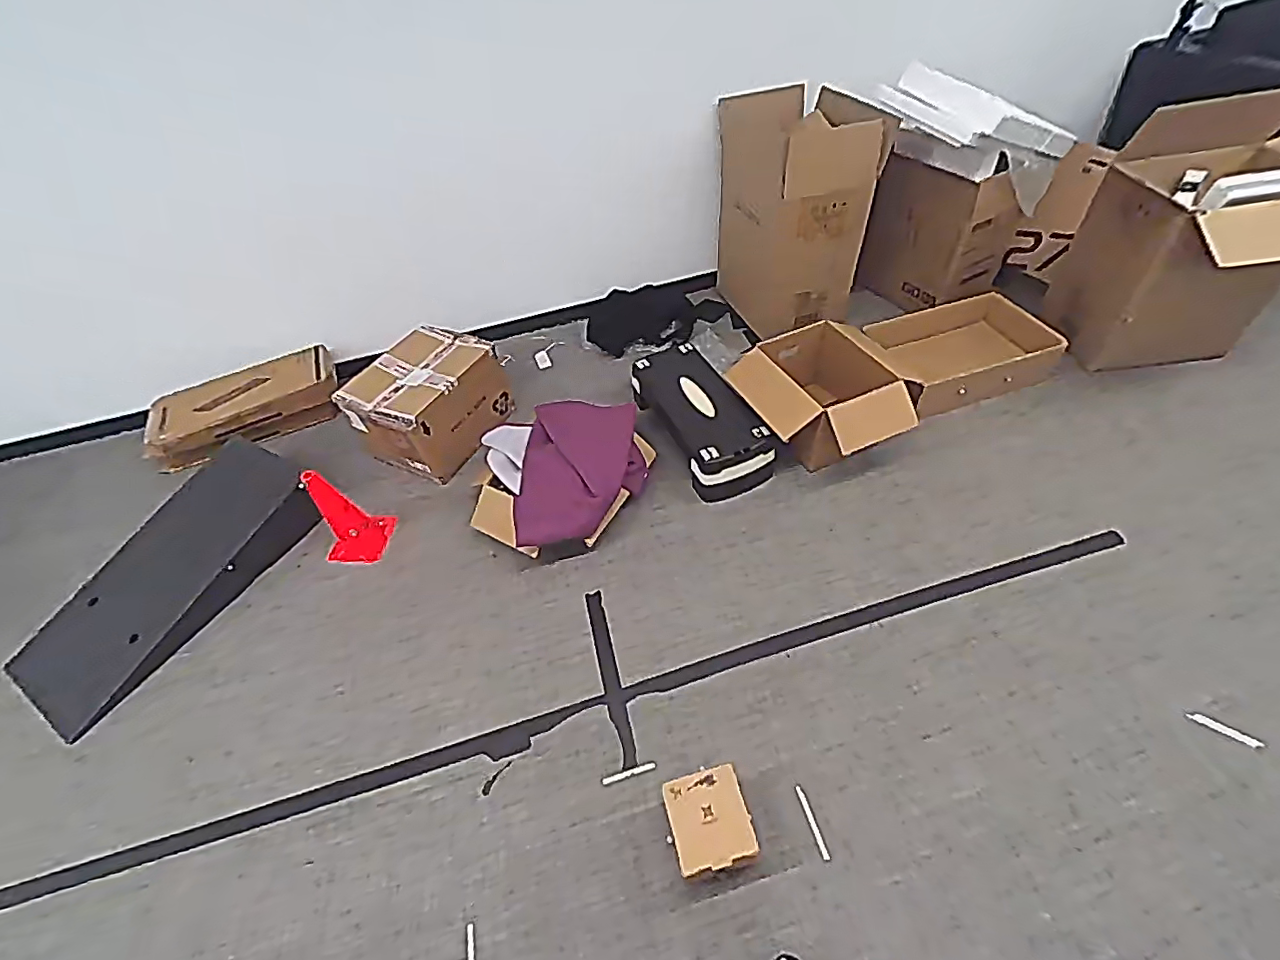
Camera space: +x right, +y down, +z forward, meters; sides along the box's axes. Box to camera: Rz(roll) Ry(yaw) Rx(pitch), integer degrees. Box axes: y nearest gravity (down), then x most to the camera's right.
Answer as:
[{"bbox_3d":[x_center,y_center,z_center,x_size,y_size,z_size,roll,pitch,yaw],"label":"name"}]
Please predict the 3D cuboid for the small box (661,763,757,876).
[{"bbox_3d":[0.153,0.762,1.206,0.168,0.176,0.179,-14,50,-4],"label":"small box"}]
